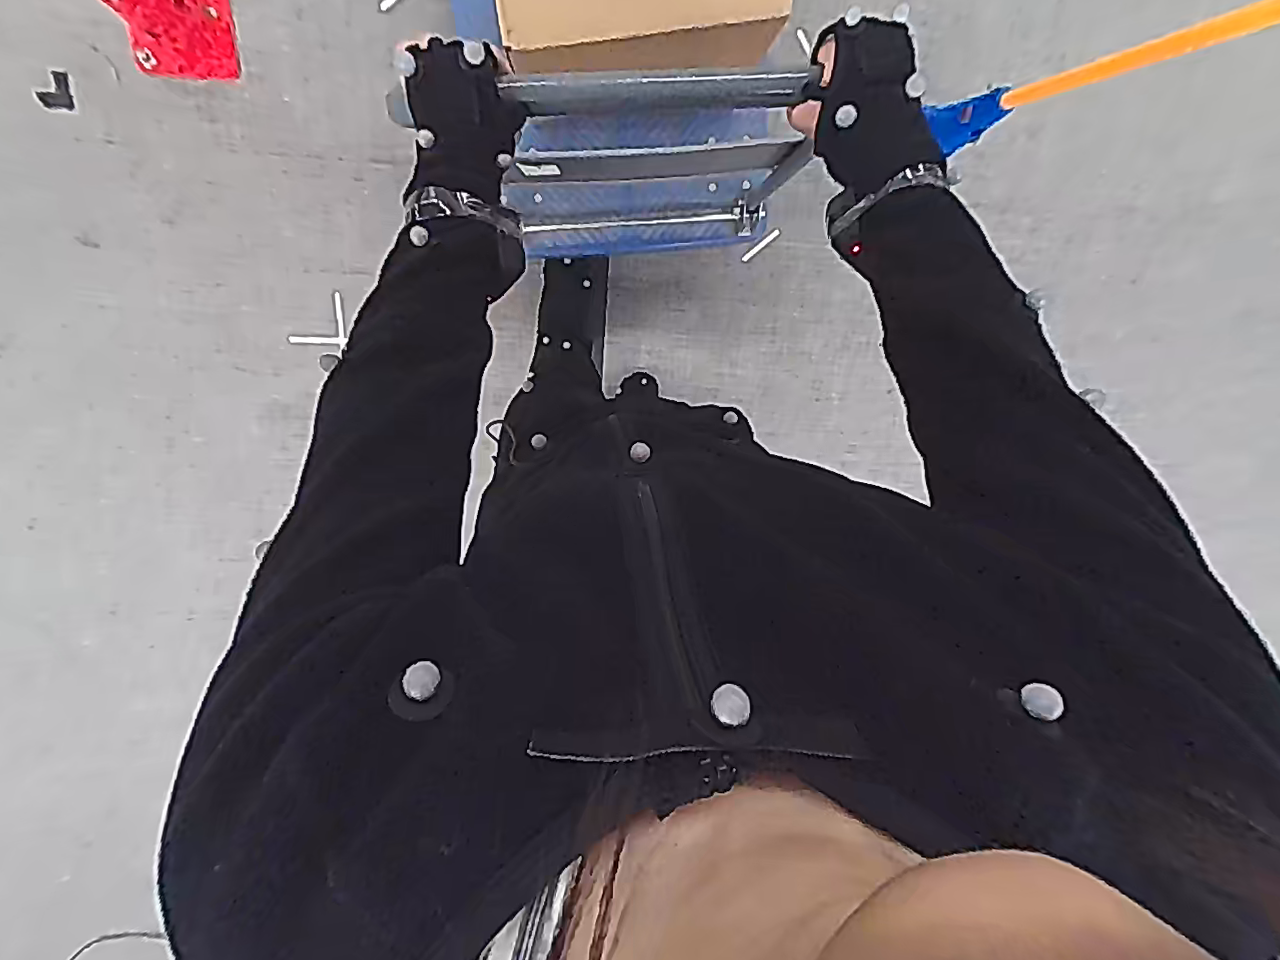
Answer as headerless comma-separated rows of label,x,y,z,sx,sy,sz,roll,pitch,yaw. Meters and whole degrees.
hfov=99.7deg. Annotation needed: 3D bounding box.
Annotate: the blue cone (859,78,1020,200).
blue cone,0.619,-0.711,1.105,0.193,0.380,0.192,-2,107,-5
